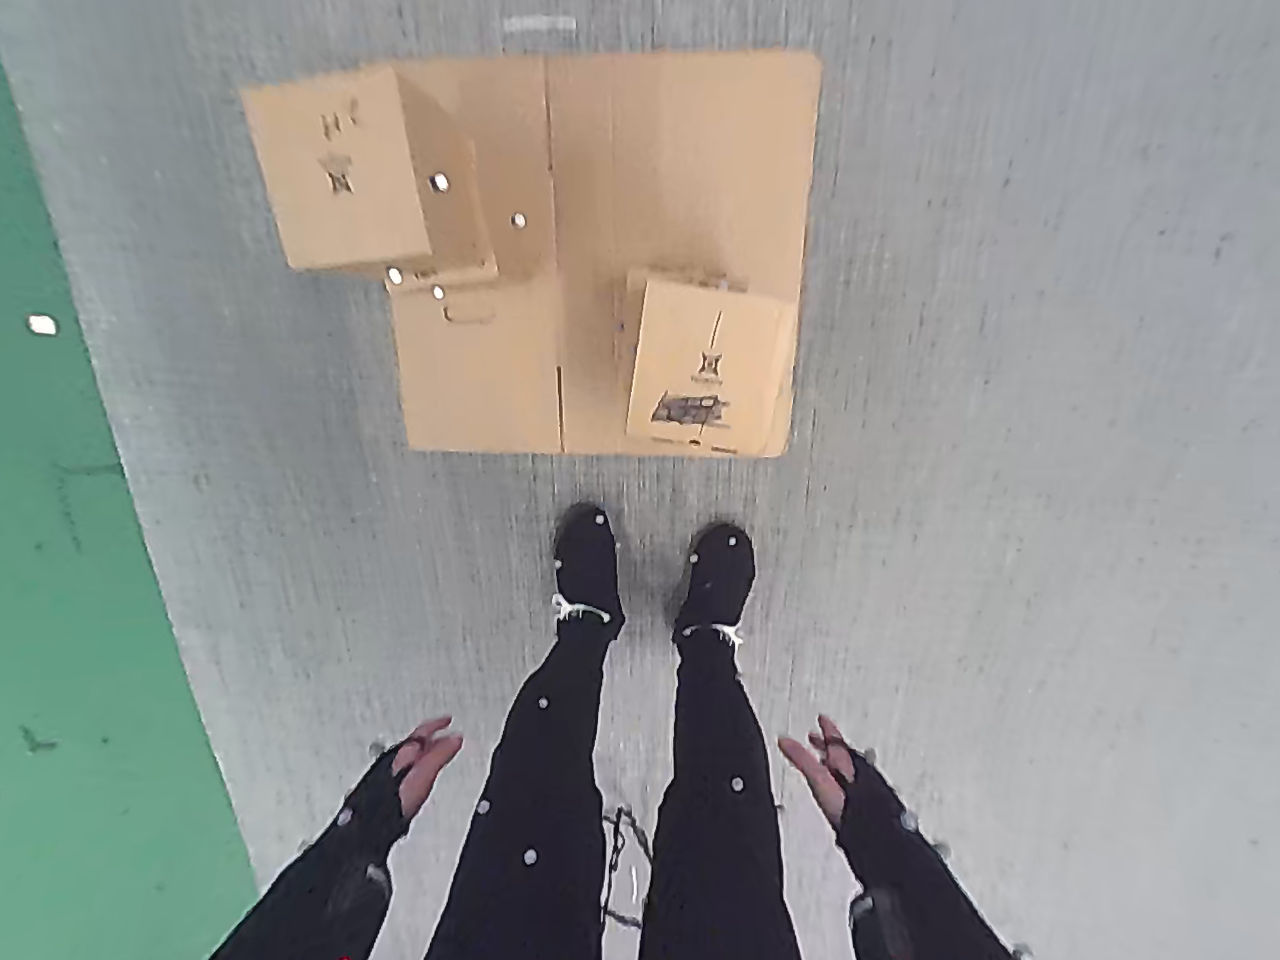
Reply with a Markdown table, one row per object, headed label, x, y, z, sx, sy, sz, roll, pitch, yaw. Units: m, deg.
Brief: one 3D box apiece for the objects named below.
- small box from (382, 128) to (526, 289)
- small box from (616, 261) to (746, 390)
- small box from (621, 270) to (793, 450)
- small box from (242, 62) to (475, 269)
| label | x | y | z | sx | sy | sz | roll | pitch | yaw |
| --- | --- | --- | --- | --- | --- | --- | --- | --- | --- |
| small box | -0.280 | -0.387 | 0.801 | 0.168 | 0.176 | 0.179 | -5 | 107 | 6 |
| small box | 0.061 | -0.230 | 0.826 | 0.168 | 0.176 | 0.179 | 6 | 108 | 3 |
| small box | 0.077 | -0.152 | 0.676 | 0.168 | 0.176 | 0.179 | 9 | 107 | 1 |
| small box | -0.311 | -0.351 | 0.642 | 0.168 | 0.176 | 0.179 | -4 | 107 | 4 |
